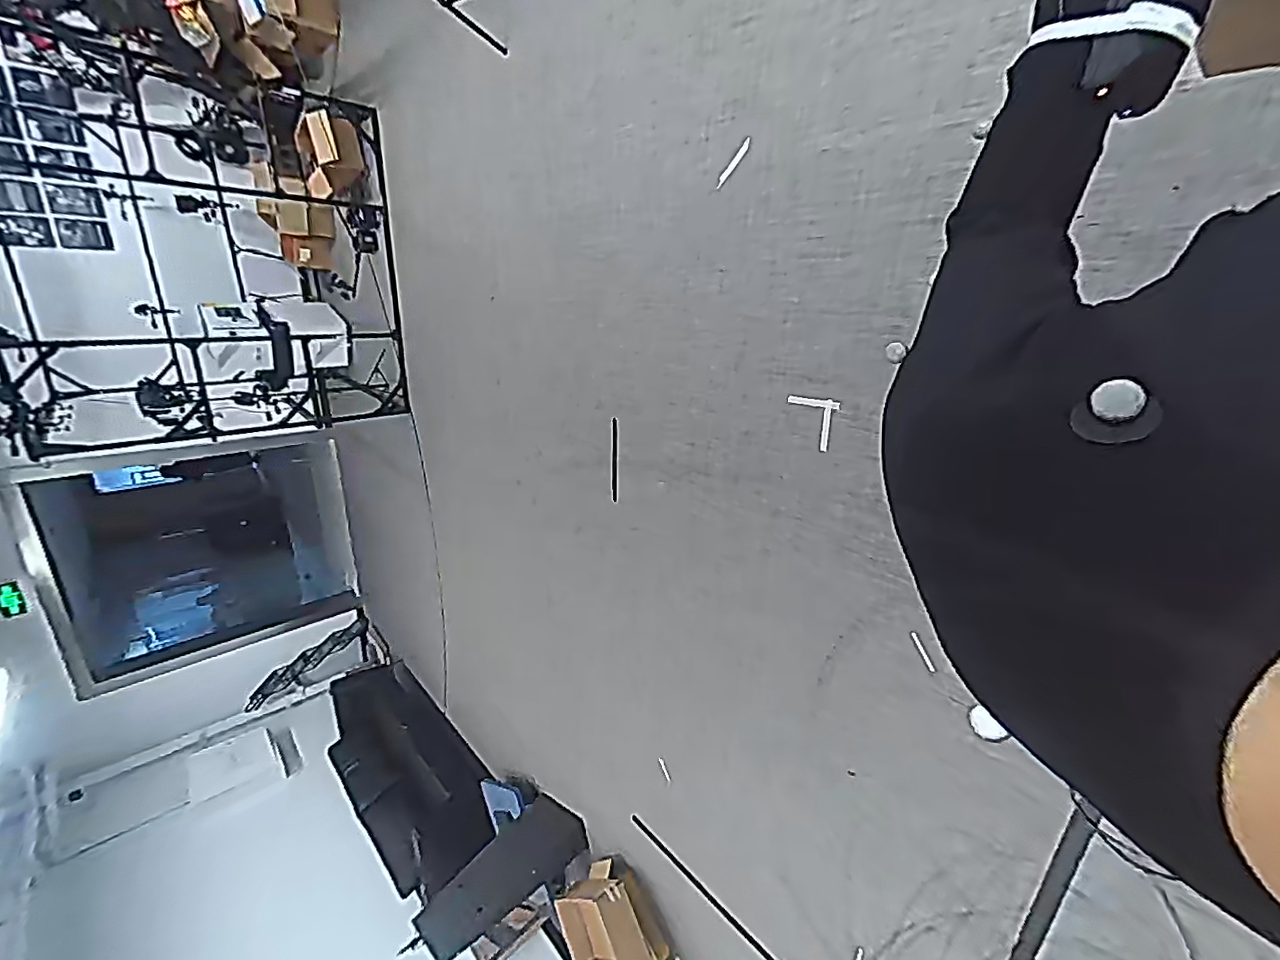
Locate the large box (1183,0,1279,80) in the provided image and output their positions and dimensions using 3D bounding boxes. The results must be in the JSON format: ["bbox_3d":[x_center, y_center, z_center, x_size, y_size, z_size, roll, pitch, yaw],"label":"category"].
[{"bbox_3d":[0.588,-0.451,0.260,0.408,0.320,0.320,22,121,42],"label":"large box"}]
